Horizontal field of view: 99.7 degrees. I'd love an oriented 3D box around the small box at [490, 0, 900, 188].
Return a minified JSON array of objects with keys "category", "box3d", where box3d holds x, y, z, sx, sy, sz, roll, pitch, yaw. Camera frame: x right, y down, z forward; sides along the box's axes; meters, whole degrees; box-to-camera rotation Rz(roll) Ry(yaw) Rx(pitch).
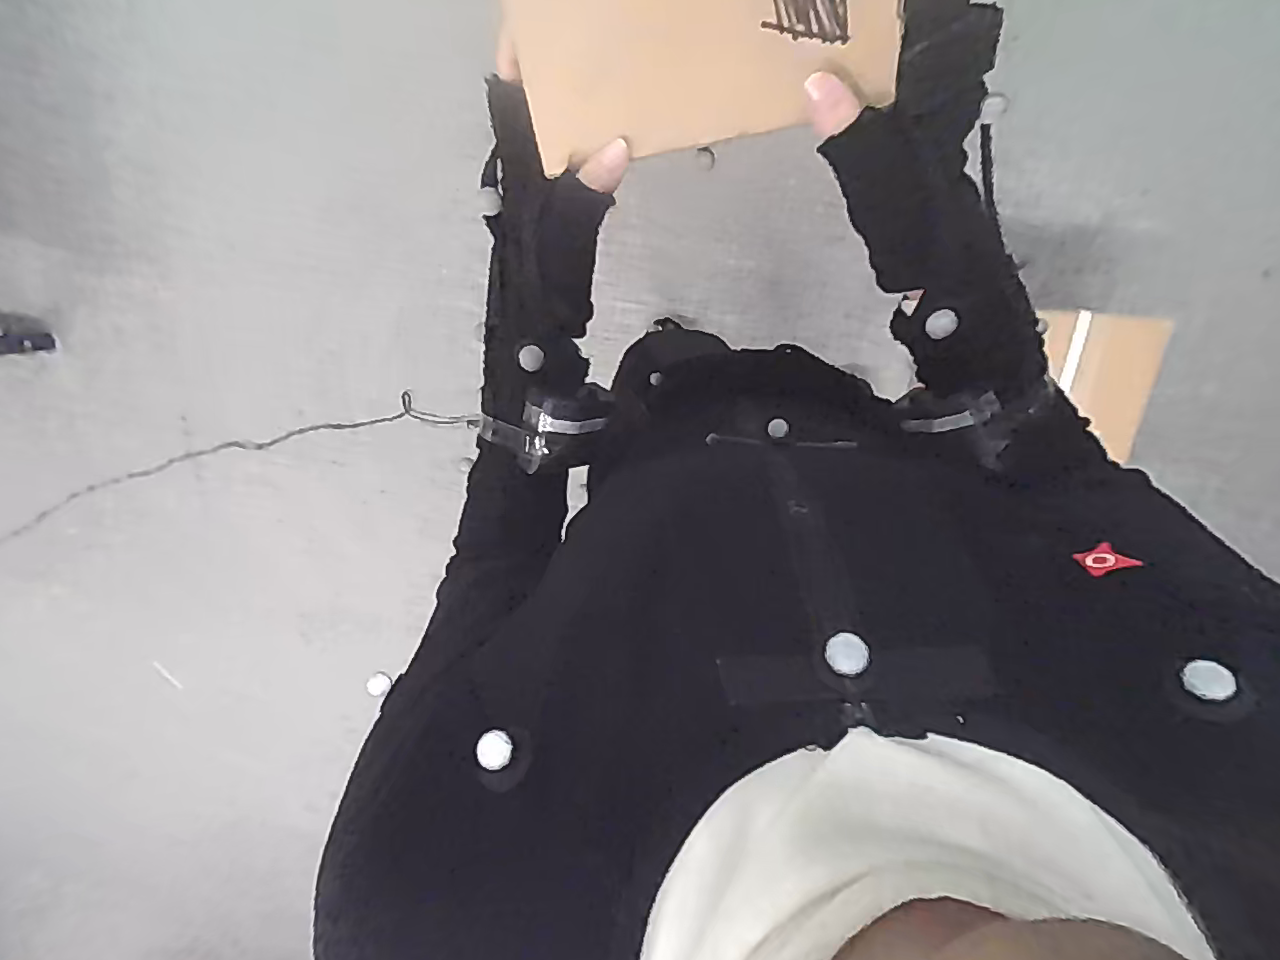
[{"category":"small box","box3d":[0.025,-0.275,0.287,0.179,0.176,0.168,-7,122,15]}]
